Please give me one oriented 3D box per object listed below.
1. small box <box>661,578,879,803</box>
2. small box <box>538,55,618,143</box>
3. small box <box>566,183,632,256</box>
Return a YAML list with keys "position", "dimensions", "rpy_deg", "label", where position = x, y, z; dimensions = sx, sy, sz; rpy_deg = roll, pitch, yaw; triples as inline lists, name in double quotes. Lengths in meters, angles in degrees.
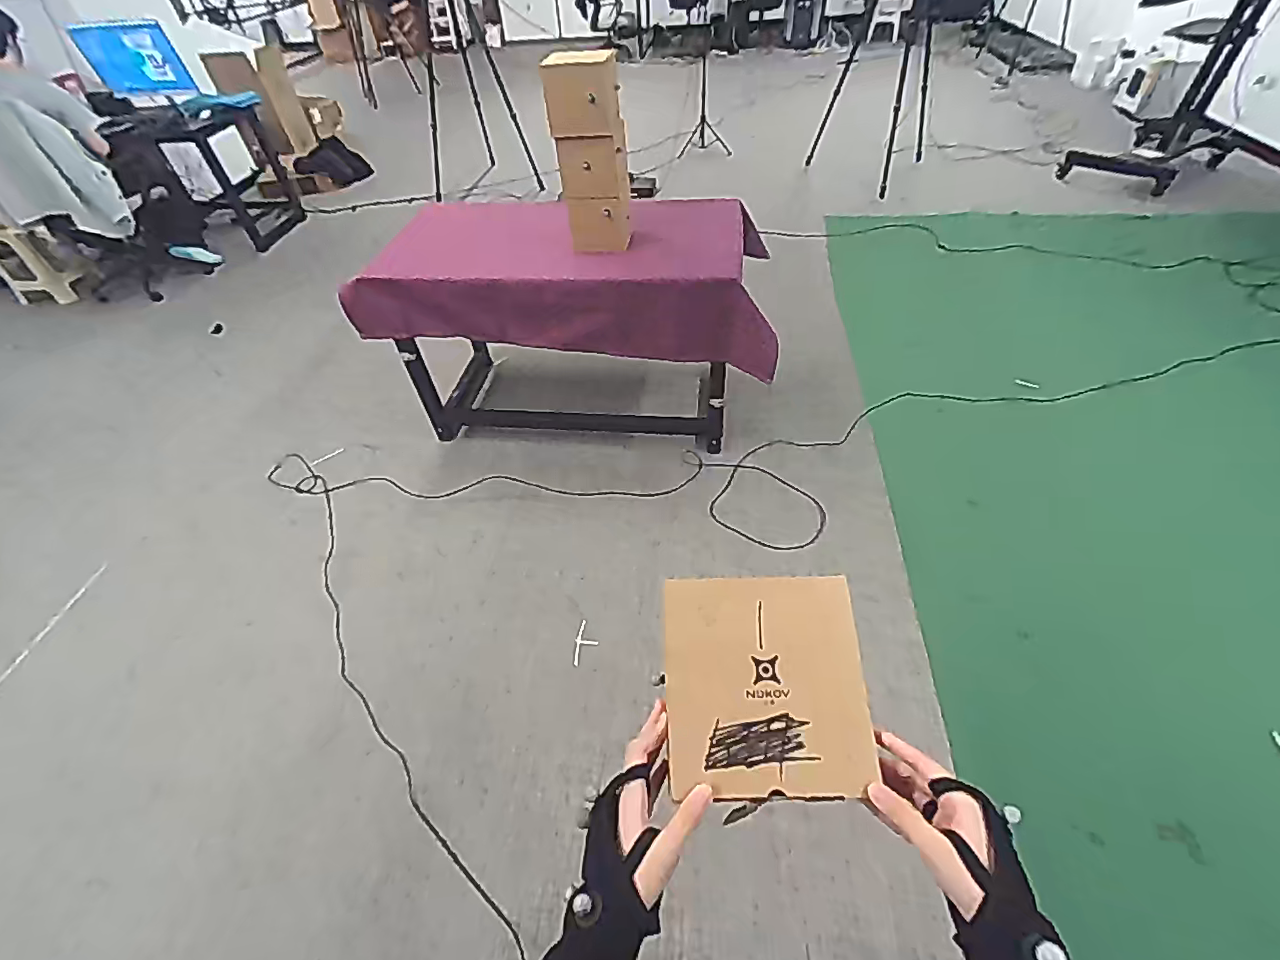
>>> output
- position: [0.105, 0.202, 0.523]
  dimensions: [0.168, 0.176, 0.179]
  rpy_deg: [-1, 64, 1]
  label: "small box"
- position: [-0.163, -1.055, 1.501]
  dimensions: [0.179, 0.176, 0.168]
  rpy_deg: [3, 47, 9]
  label: "small box"
- position: [-0.125, -0.839, 1.746]
  dimensions: [0.179, 0.176, 0.168]
  rpy_deg: [4, 47, 9]
  label: "small box"
